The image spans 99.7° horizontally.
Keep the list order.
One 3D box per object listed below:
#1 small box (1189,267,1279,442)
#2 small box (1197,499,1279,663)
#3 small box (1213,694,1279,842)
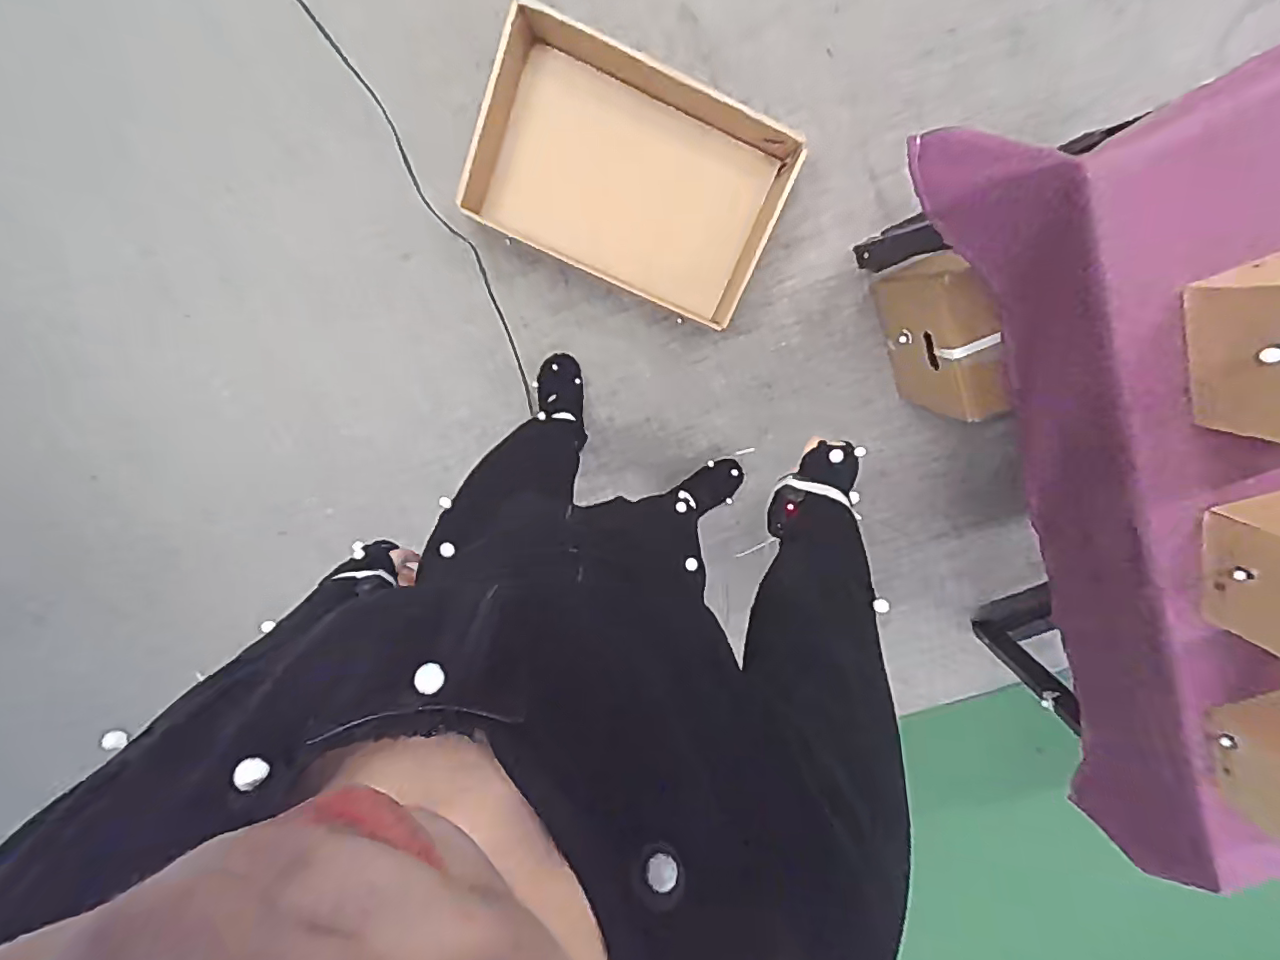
[{"bbox_3d":[0.732,-0.140,0.562,0.168,0.176,0.179,-19,106,7],"label":"small box"},{"bbox_3d":[0.843,0.122,0.648,0.179,0.176,0.168,-15,107,6],"label":"small box"},{"bbox_3d":[0.947,0.412,0.739,0.179,0.176,0.168,-20,107,6],"label":"small box"}]
